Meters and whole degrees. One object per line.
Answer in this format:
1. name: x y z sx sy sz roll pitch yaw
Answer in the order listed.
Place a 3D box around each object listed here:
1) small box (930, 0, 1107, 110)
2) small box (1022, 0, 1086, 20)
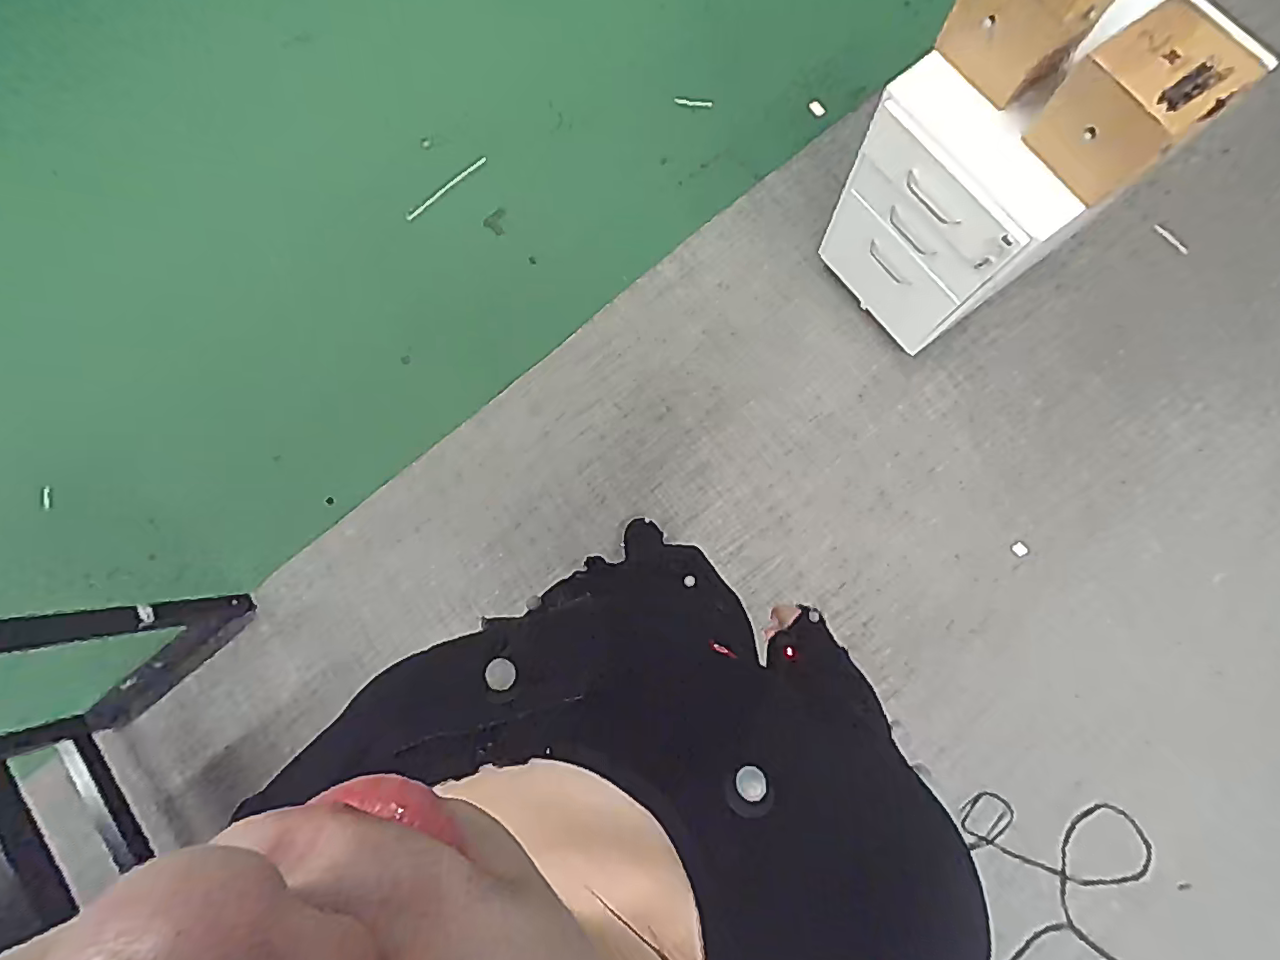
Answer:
1. small box: 0.629 -0.777 0.900 0.168 0.176 0.179 -38 81 -1
2. small box: 0.618 -0.800 0.739 0.168 0.176 0.179 -36 83 -1
